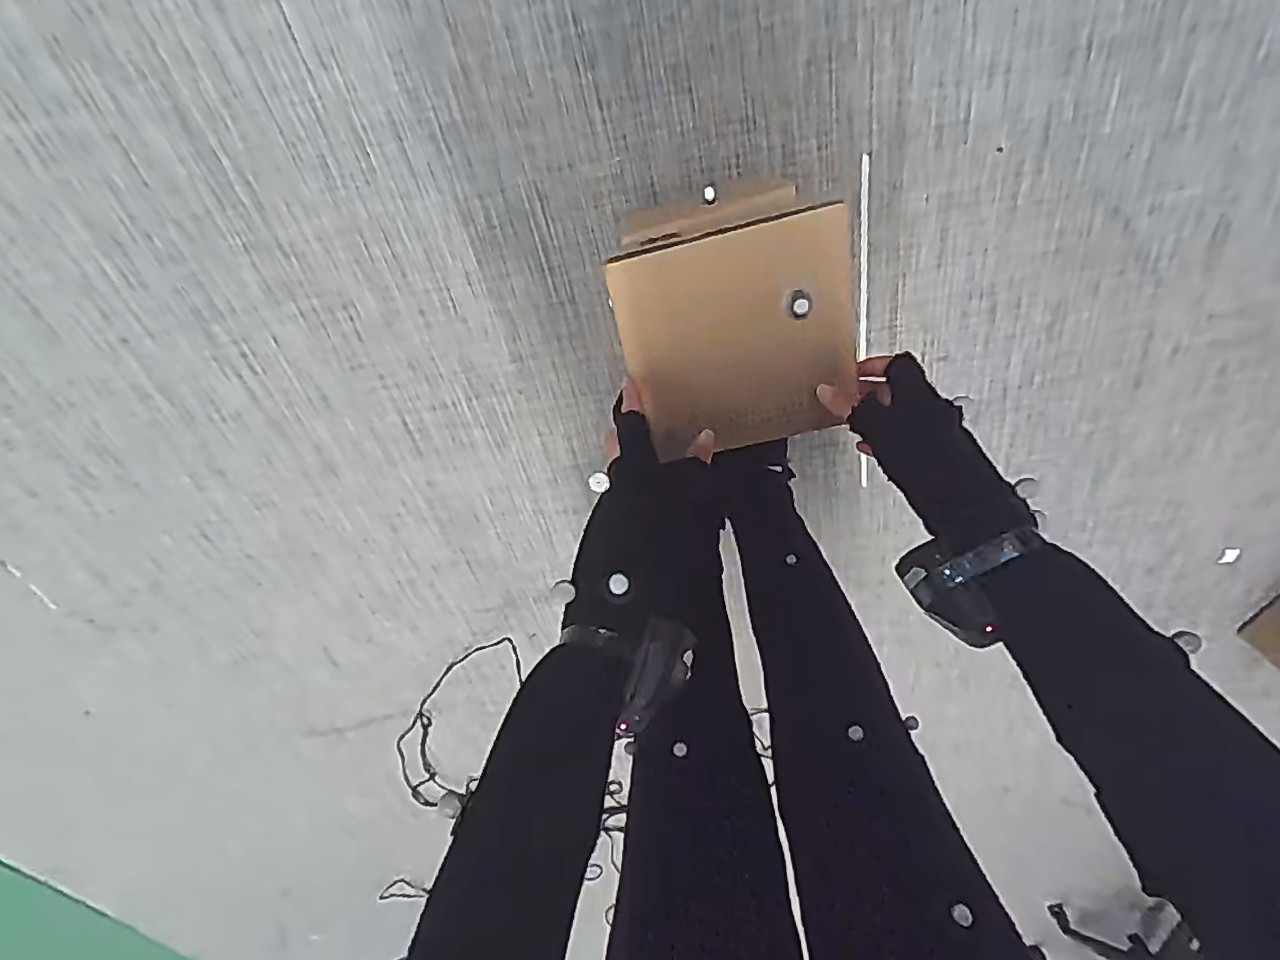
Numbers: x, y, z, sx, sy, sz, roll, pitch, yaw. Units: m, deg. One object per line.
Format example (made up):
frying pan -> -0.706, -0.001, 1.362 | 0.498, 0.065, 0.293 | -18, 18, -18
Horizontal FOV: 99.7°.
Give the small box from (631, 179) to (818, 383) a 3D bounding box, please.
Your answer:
small box -> 0.093, -0.238, 0.633 | 0.179, 0.176, 0.168 | -13, 121, 9
